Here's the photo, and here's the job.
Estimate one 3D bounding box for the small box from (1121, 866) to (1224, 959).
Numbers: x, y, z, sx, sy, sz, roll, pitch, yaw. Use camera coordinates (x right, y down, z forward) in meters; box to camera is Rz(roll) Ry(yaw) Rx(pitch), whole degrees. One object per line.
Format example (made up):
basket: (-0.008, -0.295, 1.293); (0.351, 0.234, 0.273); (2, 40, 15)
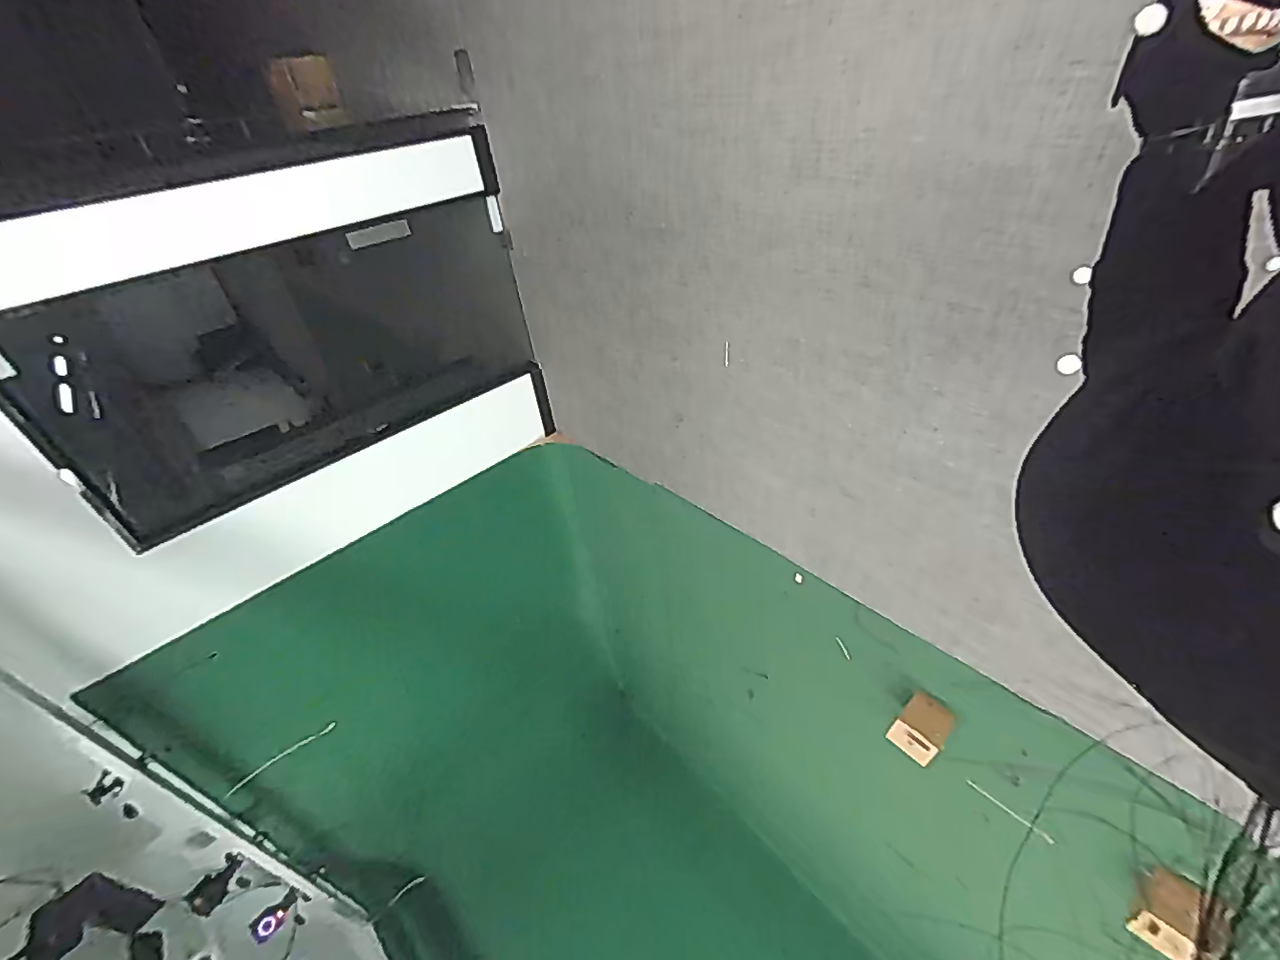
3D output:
small box: (1.678, 1.366, 1.706); (0.179, 0.176, 0.168); (27, 140, 39)
